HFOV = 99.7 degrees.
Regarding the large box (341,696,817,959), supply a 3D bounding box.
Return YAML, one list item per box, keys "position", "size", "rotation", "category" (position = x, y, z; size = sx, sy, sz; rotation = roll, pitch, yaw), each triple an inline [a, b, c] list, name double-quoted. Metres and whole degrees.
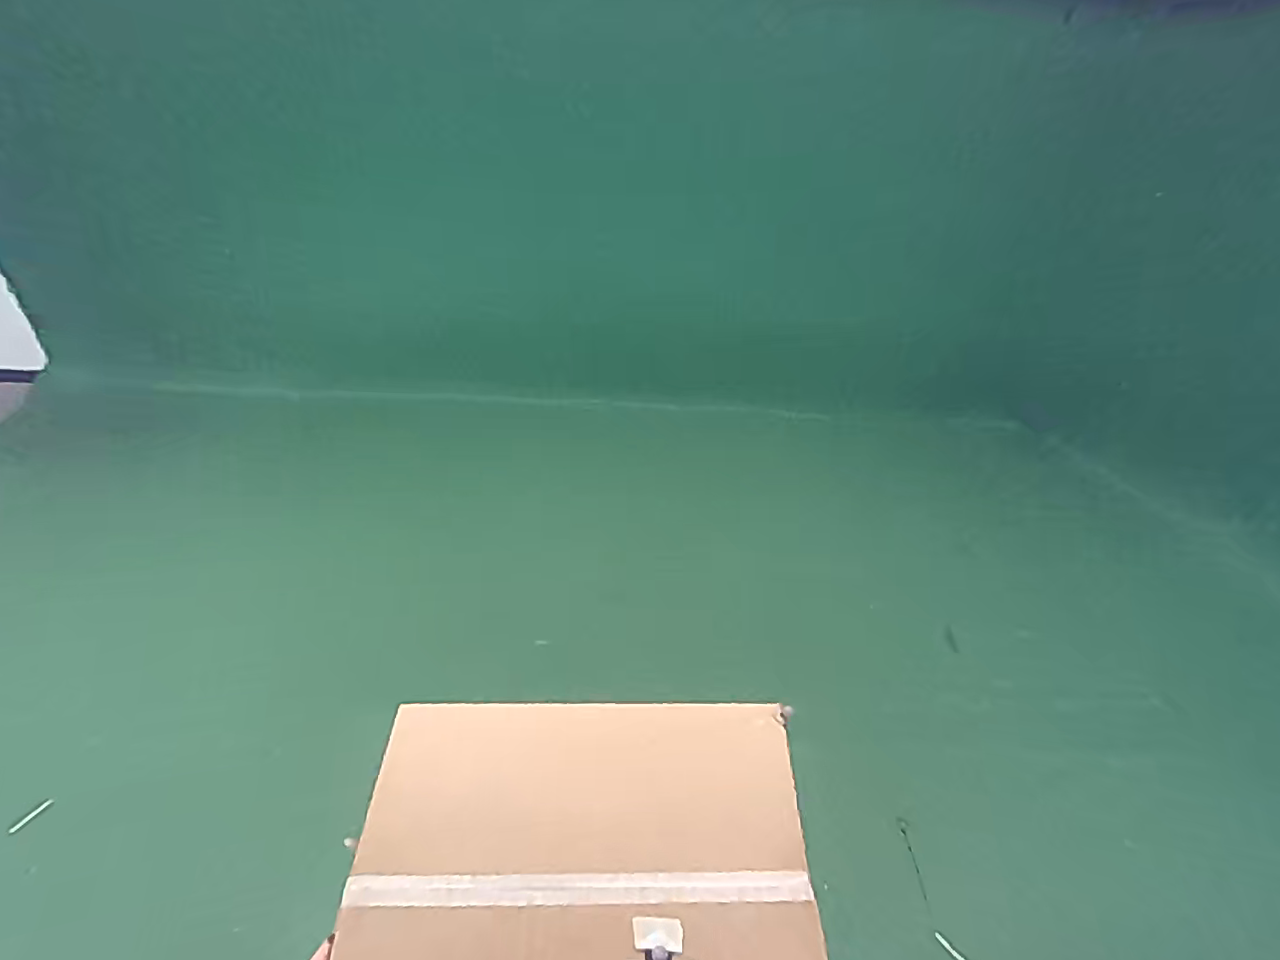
- position: [-0.055, 0.450, 0.601]
  size: [0.408, 0.320, 0.320]
  rotation: [1, 50, -1]
  category: "large box"
